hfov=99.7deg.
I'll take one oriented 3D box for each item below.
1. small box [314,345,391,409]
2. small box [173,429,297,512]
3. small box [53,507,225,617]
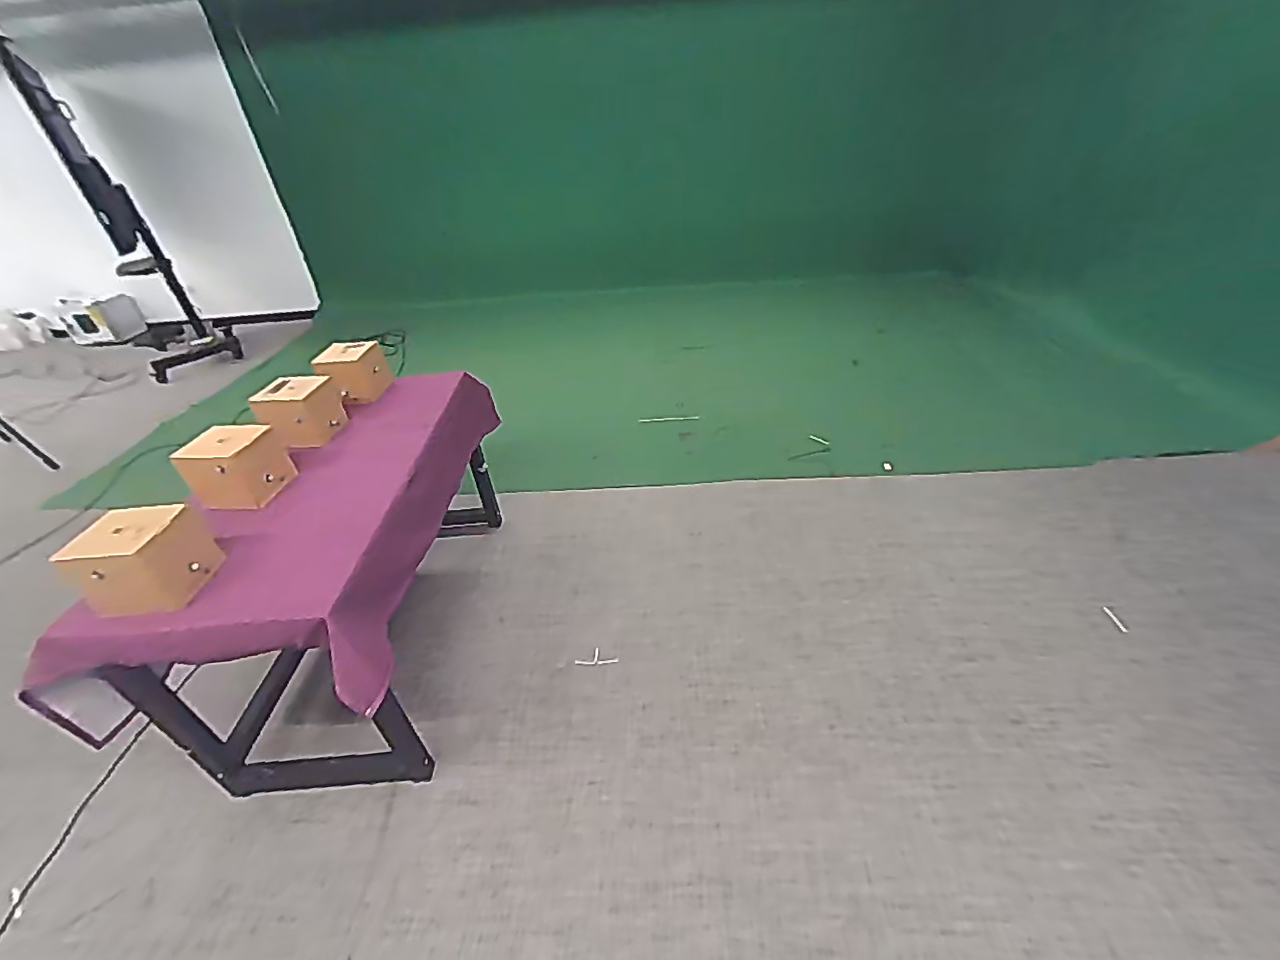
[{"bbox_3d":[-1.022,-0.370,1.945,0.168,0.176,0.179,-3,36,4],"label":"small box"},{"bbox_3d":[-1.088,-0.027,1.469,0.179,0.176,0.168,1,35,7],"label":"small box"},{"bbox_3d":[-1.062,0.179,1.165,0.179,0.176,0.168,-4,35,1],"label":"small box"}]
